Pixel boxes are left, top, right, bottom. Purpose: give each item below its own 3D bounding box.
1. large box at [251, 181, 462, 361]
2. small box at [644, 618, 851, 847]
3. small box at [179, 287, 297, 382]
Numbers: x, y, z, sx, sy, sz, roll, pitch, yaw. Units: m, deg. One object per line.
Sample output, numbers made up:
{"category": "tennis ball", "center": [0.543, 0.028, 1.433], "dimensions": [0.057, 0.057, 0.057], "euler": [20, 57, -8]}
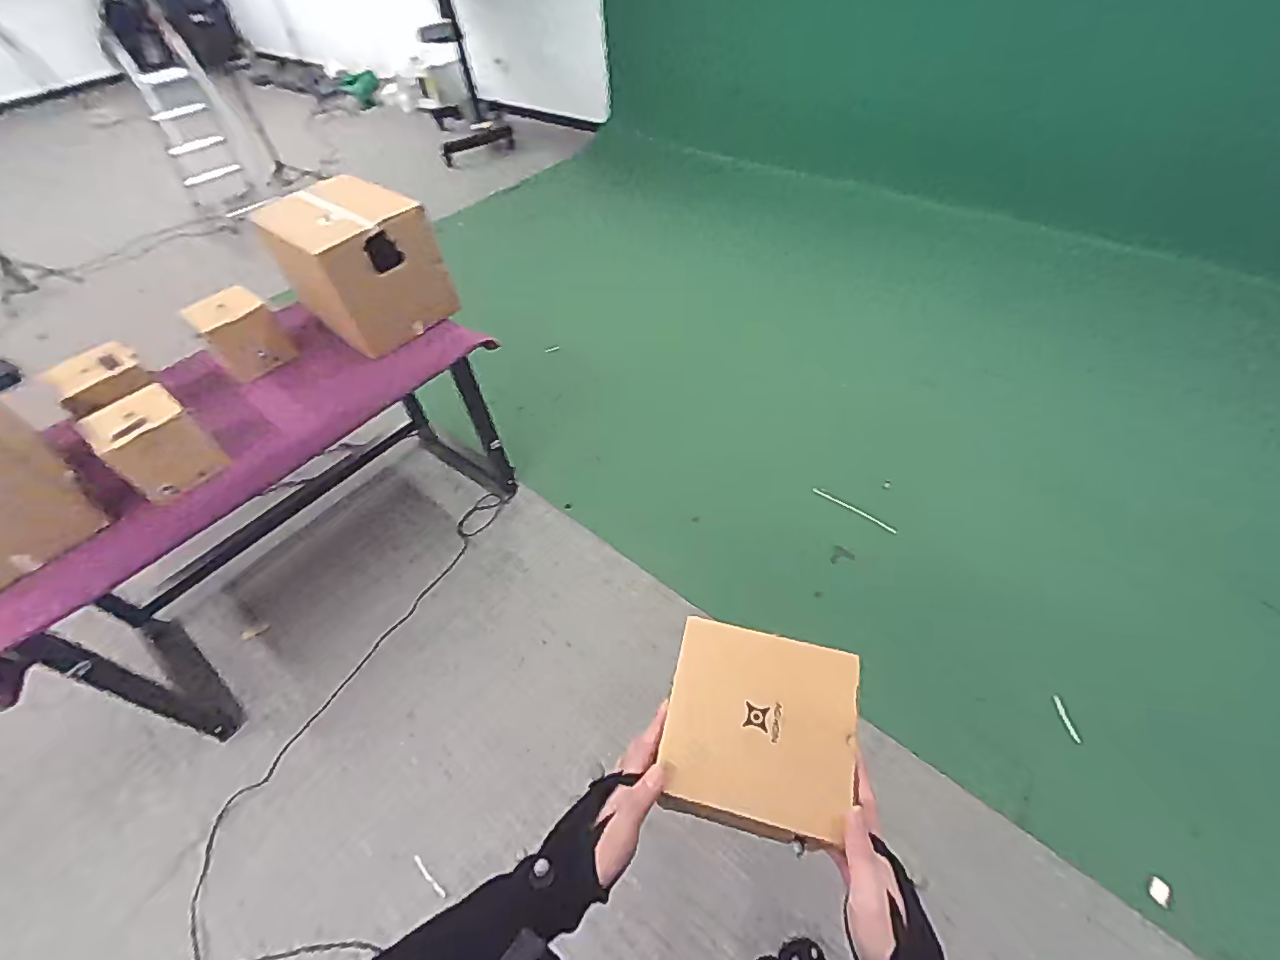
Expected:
{"category": "large box", "center": [-0.789, -0.599, 1.540], "dimensions": [0.408, 0.320, 0.320], "euler": [32, 60, 27]}
{"category": "small box", "center": [0.107, 0.269, 0.567], "dimensions": [0.179, 0.176, 0.168], "euler": [11, 55, 8]}
{"category": "small box", "center": [-1.094, -0.397, 1.481], "dimensions": [0.179, 0.176, 0.168], "euler": [31, 59, 27]}
